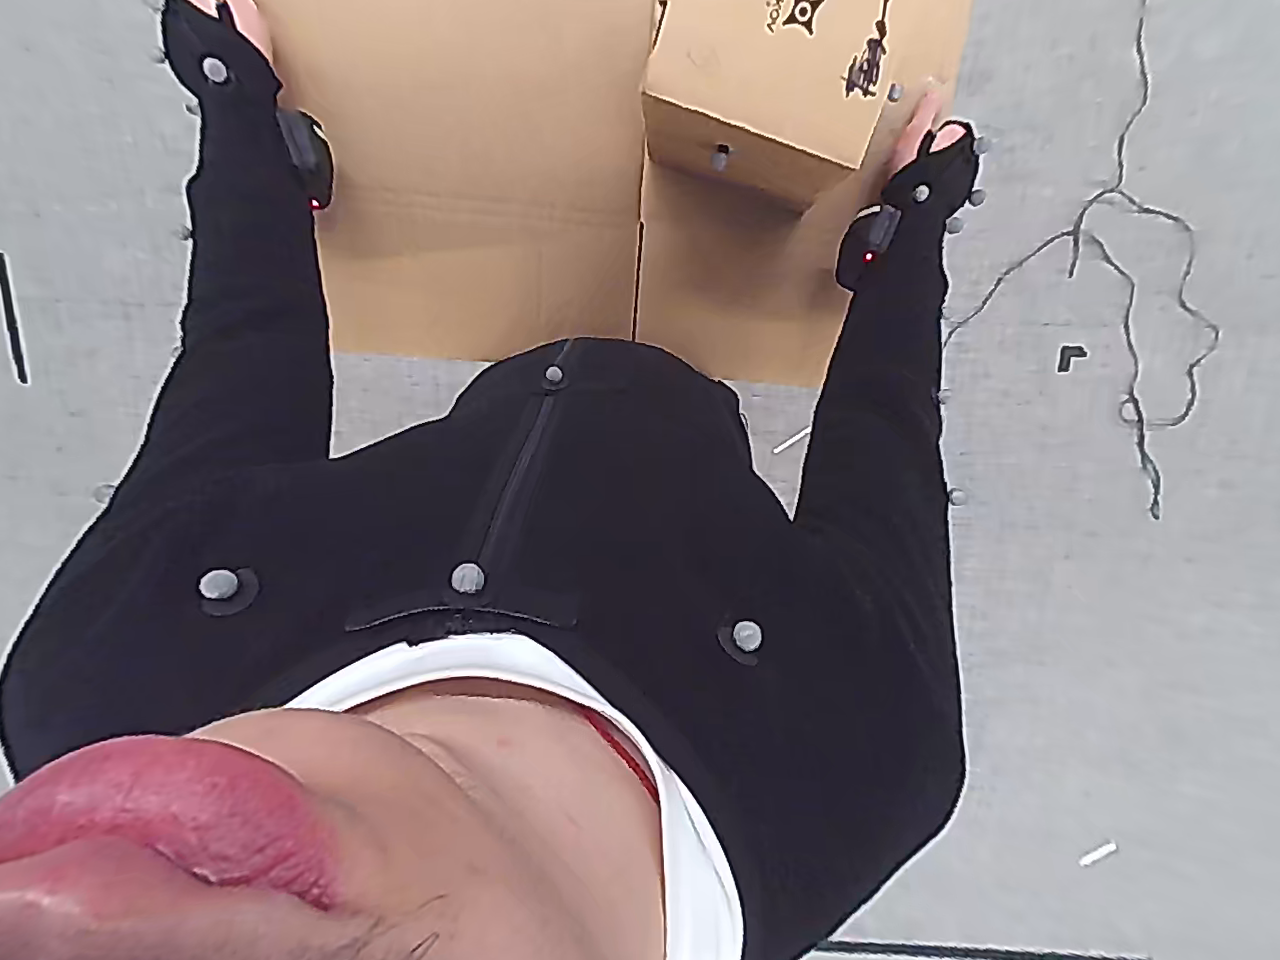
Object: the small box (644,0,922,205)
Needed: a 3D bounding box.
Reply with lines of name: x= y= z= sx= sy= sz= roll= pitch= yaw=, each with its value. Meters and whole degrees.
small box: x=0.115 y=-0.361 z=0.468 sx=0.179 sy=0.176 sz=0.168 roll=19 pitch=106 yaw=-2
